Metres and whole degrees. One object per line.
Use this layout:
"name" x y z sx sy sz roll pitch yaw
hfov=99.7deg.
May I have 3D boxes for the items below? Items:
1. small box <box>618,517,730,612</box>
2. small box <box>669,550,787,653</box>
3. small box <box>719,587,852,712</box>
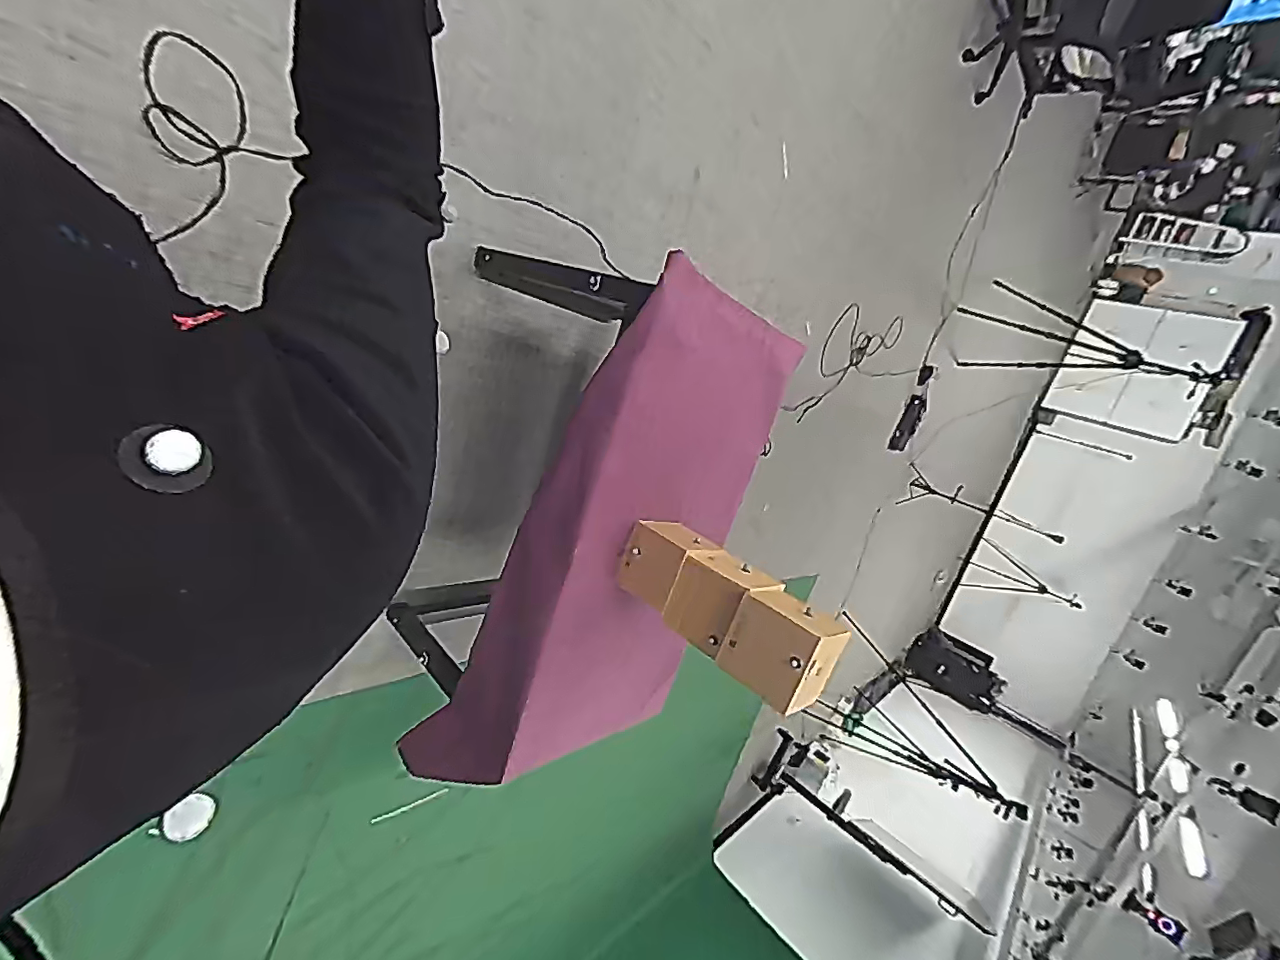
"small box" 0.080 0.197 1.297 0.179 0.176 0.168 10 104 -50
"small box" 0.191 0.265 1.200 0.168 0.176 0.179 7 107 -50
"small box" 0.289 0.326 1.082 0.179 0.176 0.168 11 103 -52
